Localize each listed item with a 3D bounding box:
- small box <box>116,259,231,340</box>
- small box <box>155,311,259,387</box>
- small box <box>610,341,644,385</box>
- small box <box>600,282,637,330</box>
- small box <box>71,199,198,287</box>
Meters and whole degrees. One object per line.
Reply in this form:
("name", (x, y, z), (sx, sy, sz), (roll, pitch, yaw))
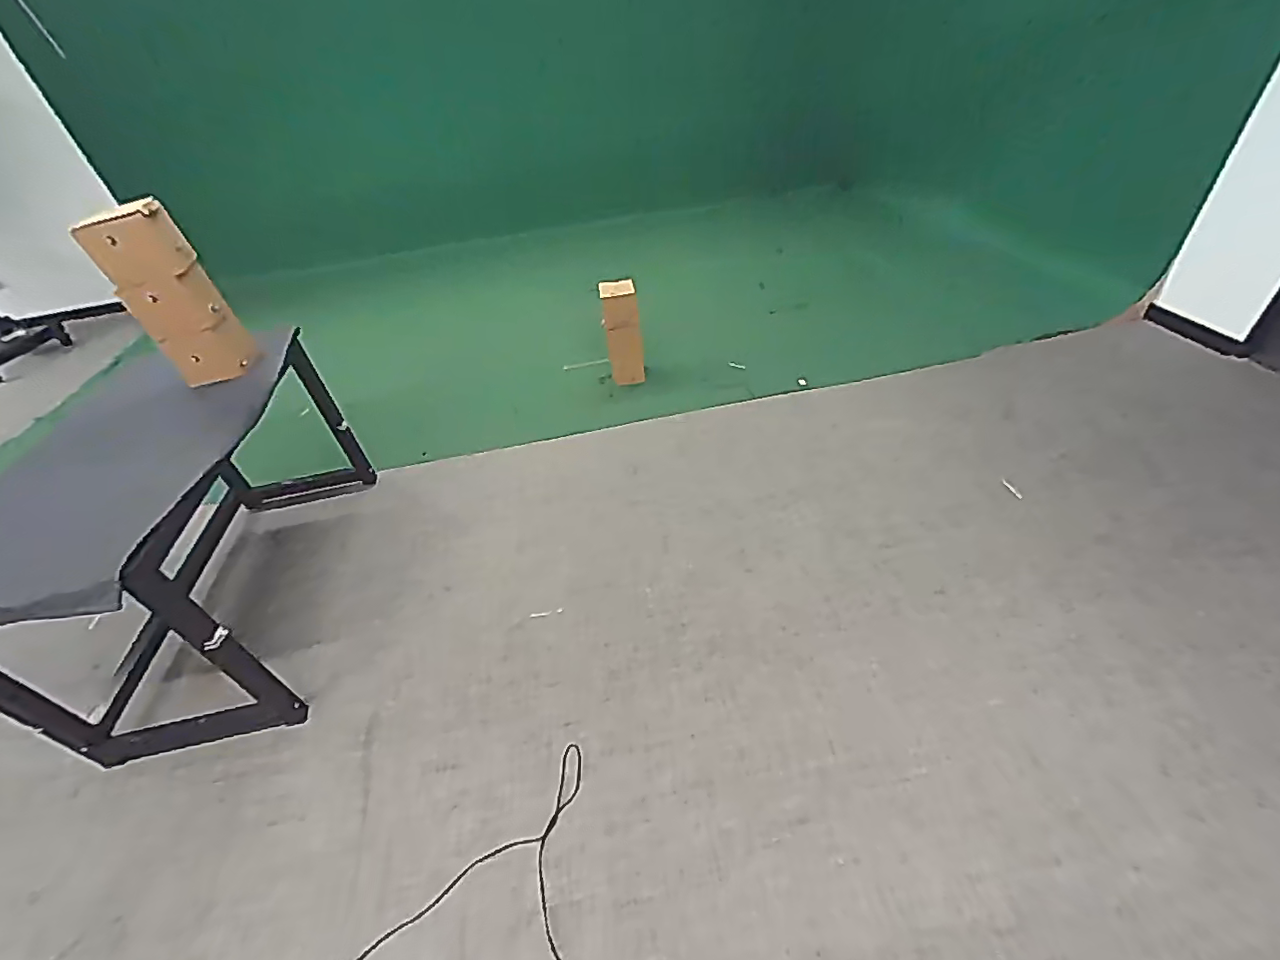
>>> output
("small box", (-1.410, -0.547, 1.648), (0.179, 0.176, 0.168), (-15, 43, -6))
("small box", (-1.393, -0.428, 1.756), (0.179, 0.176, 0.168), (-13, 42, -2))
("small box", (-0.068, -0.616, 2.876), (0.168, 0.176, 0.179), (-6, 41, 2))
("small box", (-0.106, -0.853, 2.651), (0.168, 0.176, 0.179), (-8, 40, -2))
("small box", (-1.425, -0.671, 1.539), (0.179, 0.176, 0.168), (-18, 44, -7))
